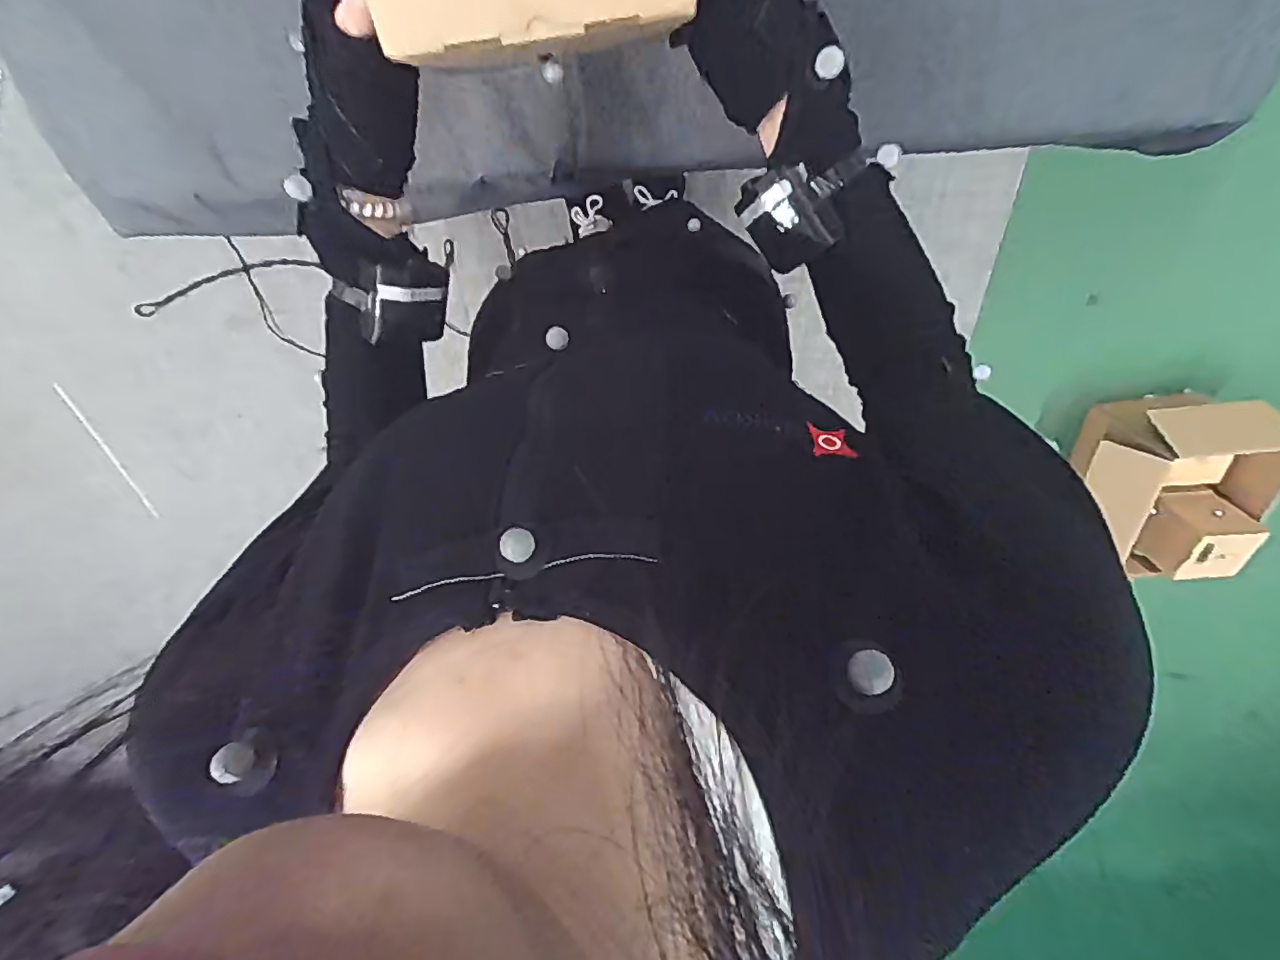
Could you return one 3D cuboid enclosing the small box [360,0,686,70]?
[{"bbox_3d":[-0.073,-0.348,0.295,0.168,0.176,0.179,-9,125,0],"label":"small box"}]
